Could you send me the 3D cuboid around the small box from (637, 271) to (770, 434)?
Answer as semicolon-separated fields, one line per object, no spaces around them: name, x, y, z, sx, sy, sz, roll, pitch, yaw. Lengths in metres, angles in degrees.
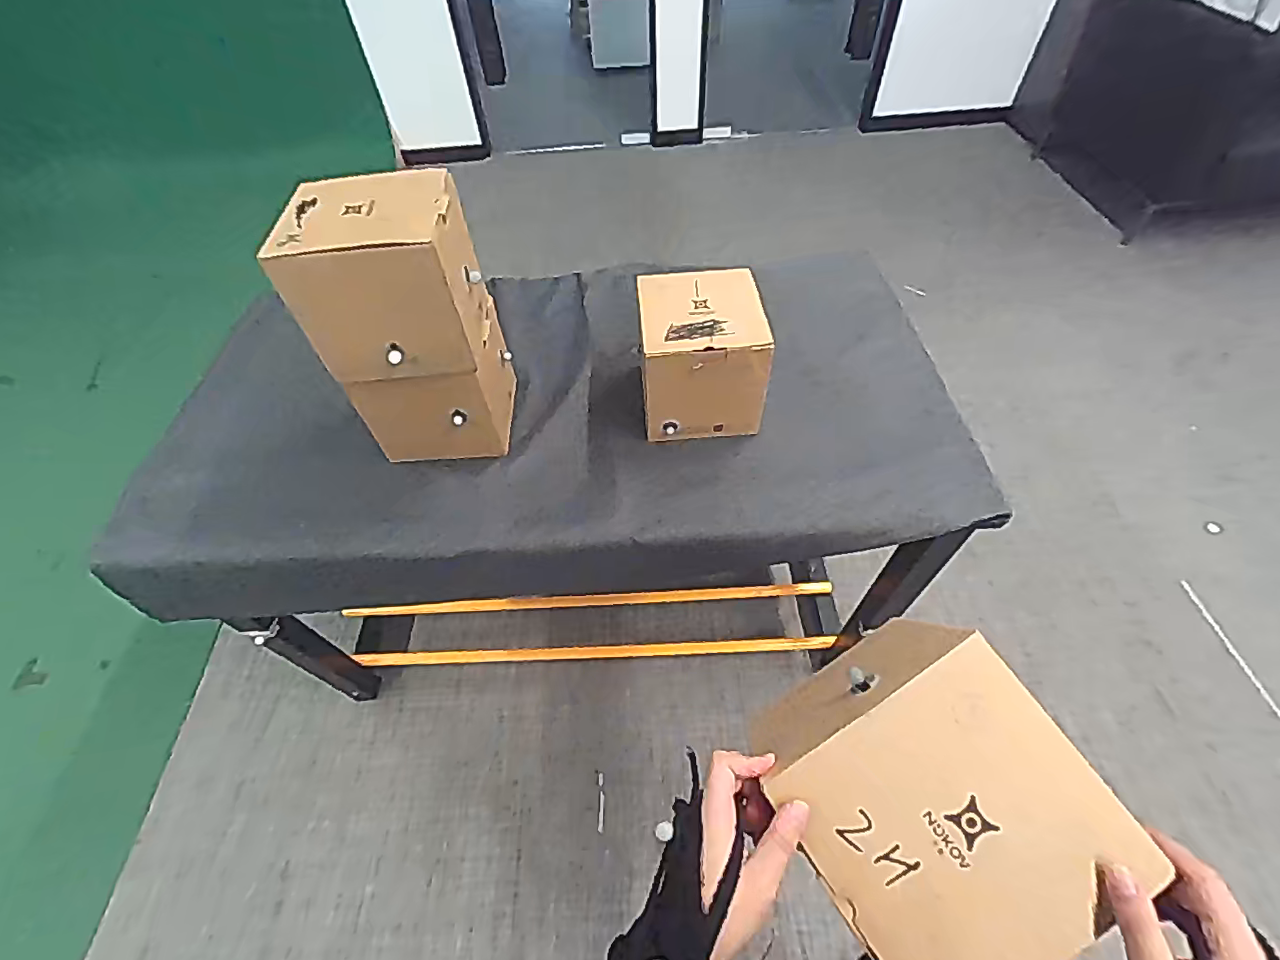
small box;0.085;-0.180;0.794;0.168;0.176;0.179;-4;52;-1

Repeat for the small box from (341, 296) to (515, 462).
small box;-0.287;-0.142;0.783;0.179;0.176;0.168;-4;51;0

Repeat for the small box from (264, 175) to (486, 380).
small box;-0.293;-0.239;0.650;0.179;0.176;0.168;-6;51;-3
